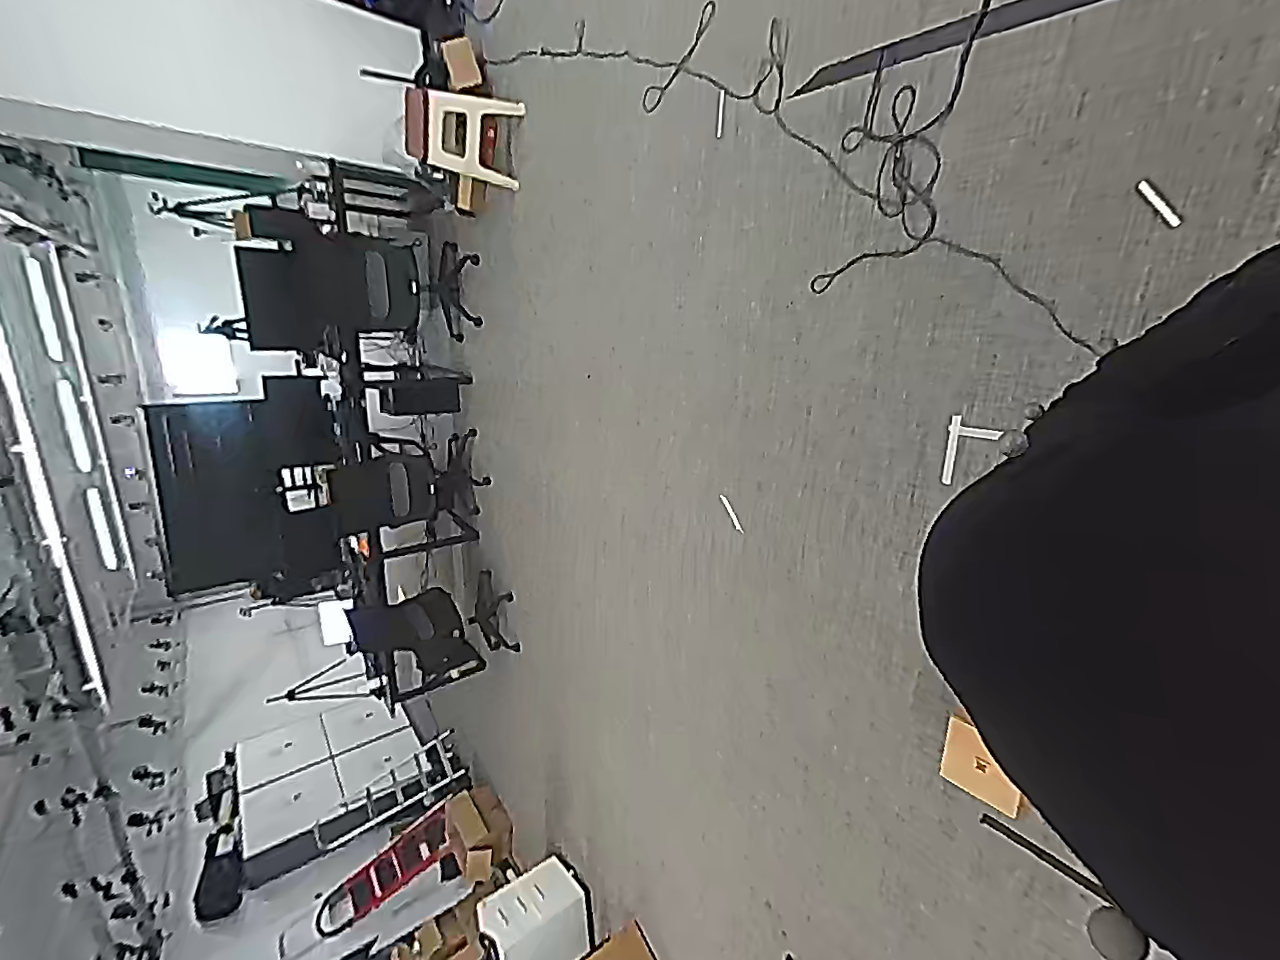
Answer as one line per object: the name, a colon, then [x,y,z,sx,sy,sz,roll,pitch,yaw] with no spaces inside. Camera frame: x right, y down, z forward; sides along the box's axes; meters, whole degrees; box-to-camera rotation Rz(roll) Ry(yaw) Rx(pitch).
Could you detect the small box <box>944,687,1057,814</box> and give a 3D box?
small box: [0.858,0.633,1.287,0.168,0.176,0.179,19,113,50]
